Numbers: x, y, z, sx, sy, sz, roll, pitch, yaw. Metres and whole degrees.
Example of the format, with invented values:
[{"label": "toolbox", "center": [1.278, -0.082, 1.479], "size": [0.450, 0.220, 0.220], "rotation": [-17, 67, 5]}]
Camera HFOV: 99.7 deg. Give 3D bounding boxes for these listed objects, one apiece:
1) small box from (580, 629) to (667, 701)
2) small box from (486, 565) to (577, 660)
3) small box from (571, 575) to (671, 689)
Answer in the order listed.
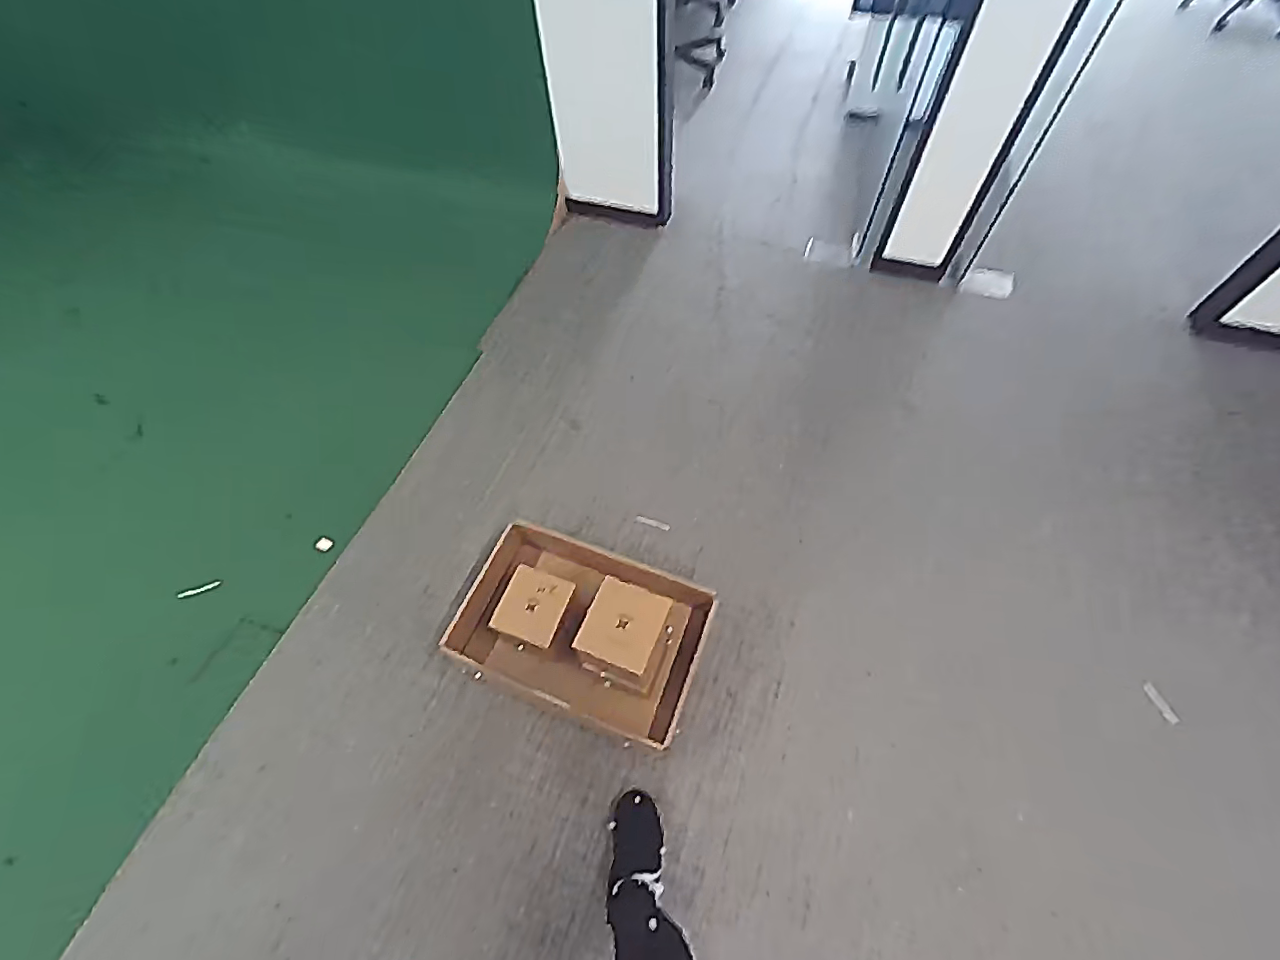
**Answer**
[{"label": "small box", "center": [-0.033, 0.440, 1.374], "size": [0.168, 0.176, 0.179], "rotation": [18, 61, 12]}, {"label": "small box", "center": [-0.275, 0.355, 1.428], "size": [0.168, 0.176, 0.179], "rotation": [18, 61, 10]}, {"label": "small box", "center": [-0.039, 0.351, 1.236], "size": [0.168, 0.176, 0.179], "rotation": [19, 62, 14]}]
